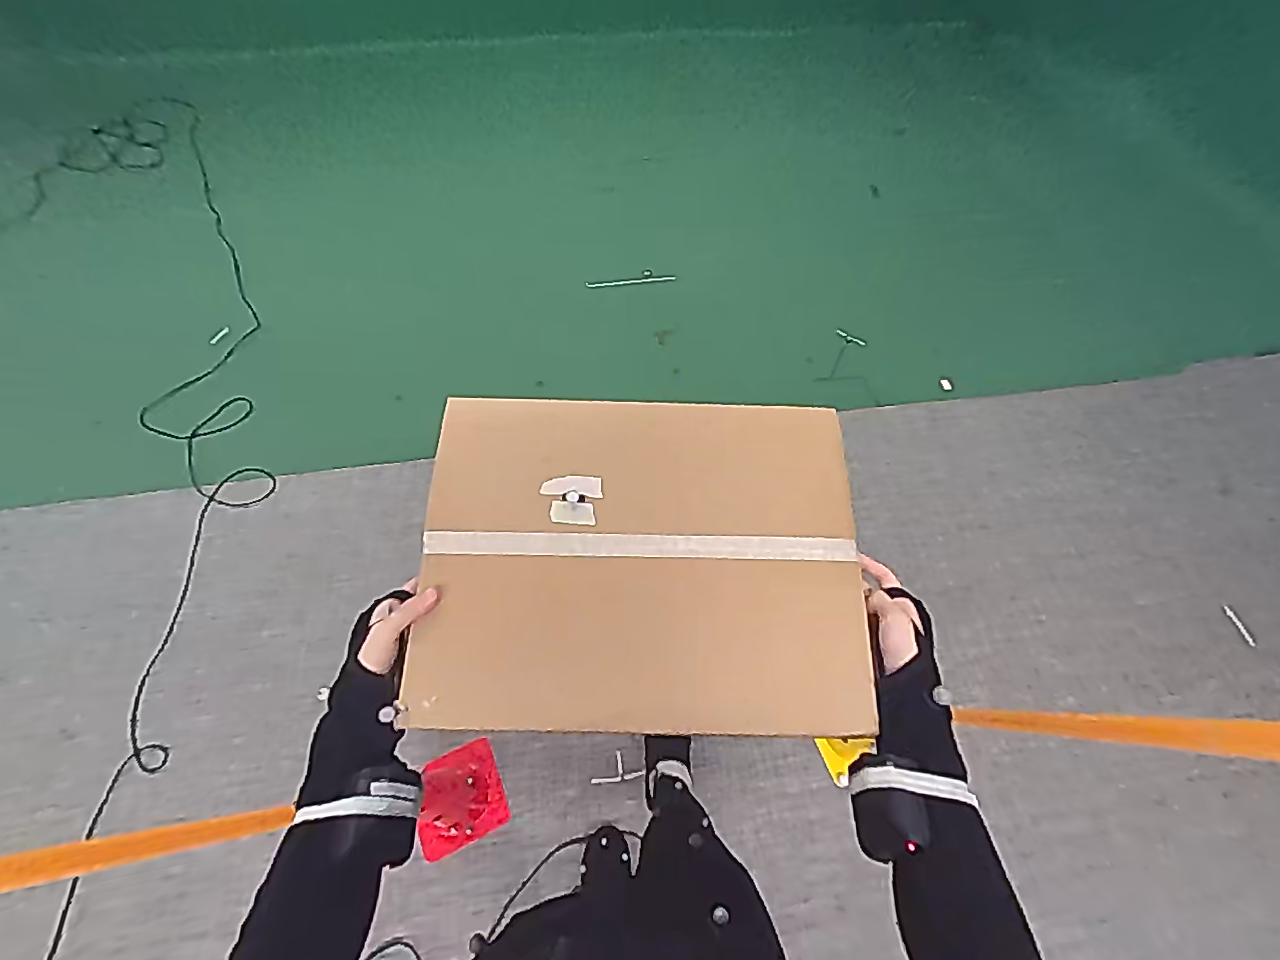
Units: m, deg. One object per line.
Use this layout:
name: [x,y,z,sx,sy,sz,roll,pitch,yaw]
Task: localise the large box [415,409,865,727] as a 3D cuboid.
large box: [0.003,0.120,0.664,0.408,0.320,0.320,1,68,0]
